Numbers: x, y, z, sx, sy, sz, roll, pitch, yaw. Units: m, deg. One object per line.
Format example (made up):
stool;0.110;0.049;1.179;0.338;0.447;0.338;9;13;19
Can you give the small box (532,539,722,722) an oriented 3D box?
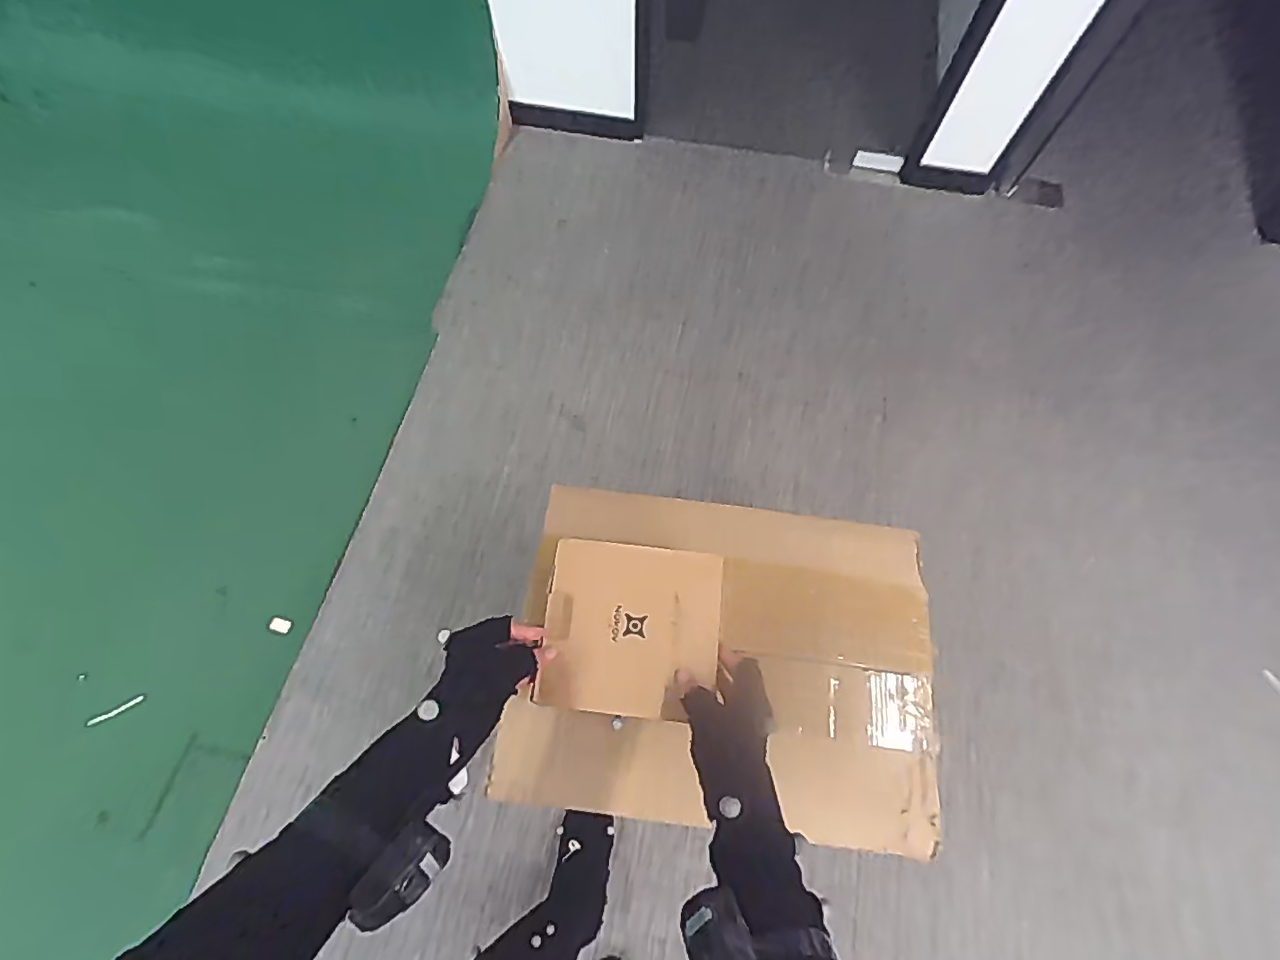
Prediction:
small box;-0.010;0.175;0.613;0.179;0.176;0.168;6;68;1
